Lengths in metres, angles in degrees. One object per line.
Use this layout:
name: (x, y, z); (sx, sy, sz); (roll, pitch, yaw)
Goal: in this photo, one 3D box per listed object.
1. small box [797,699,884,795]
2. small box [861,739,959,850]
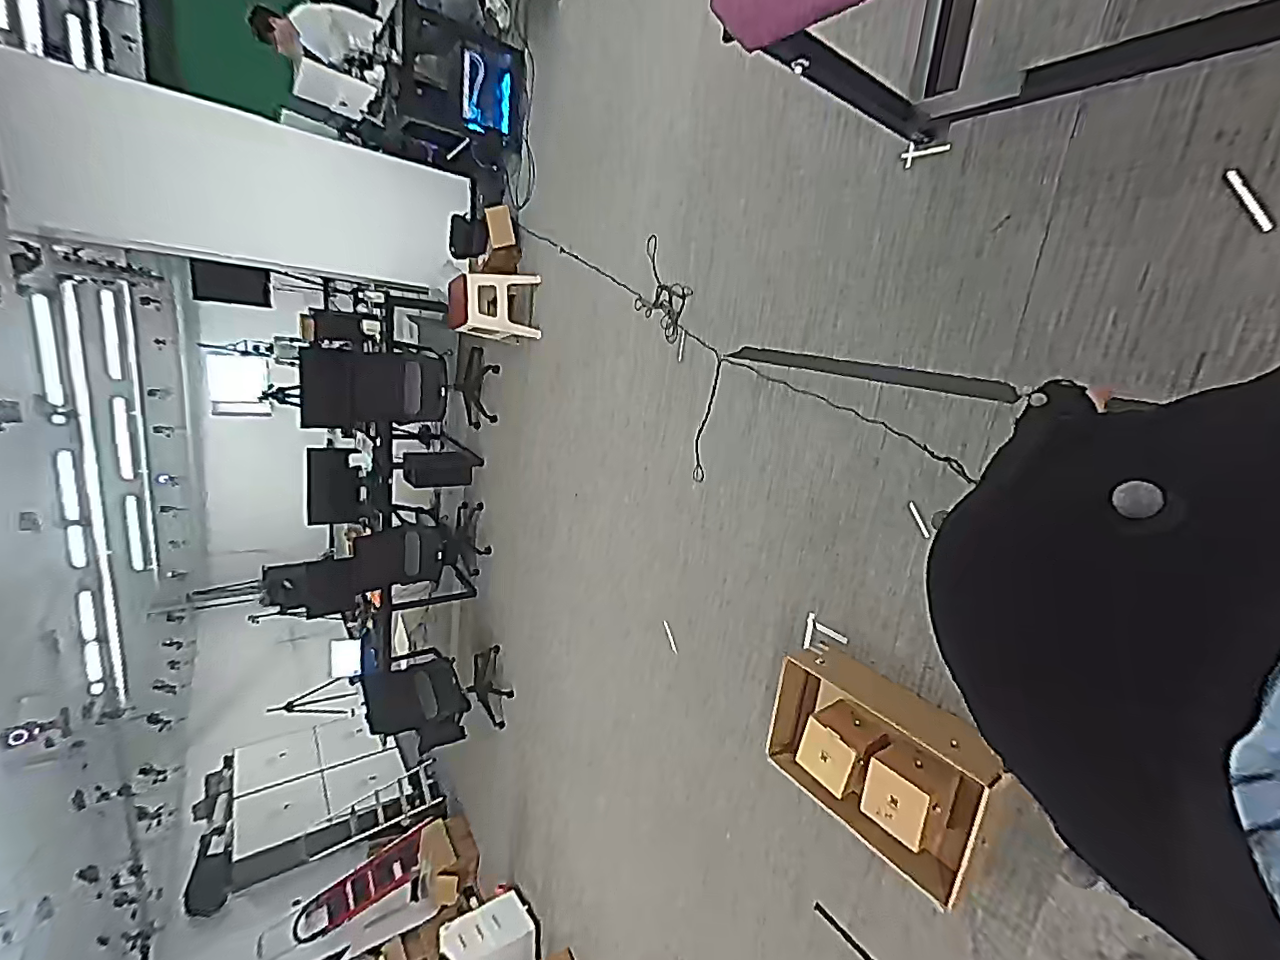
small box: (0.615, 0.809, 1.653); (0.168, 0.176, 0.179); (31, 117, 48)
small box: (0.741, 0.847, 1.479); (0.168, 0.176, 0.179); (22, 111, 53)
